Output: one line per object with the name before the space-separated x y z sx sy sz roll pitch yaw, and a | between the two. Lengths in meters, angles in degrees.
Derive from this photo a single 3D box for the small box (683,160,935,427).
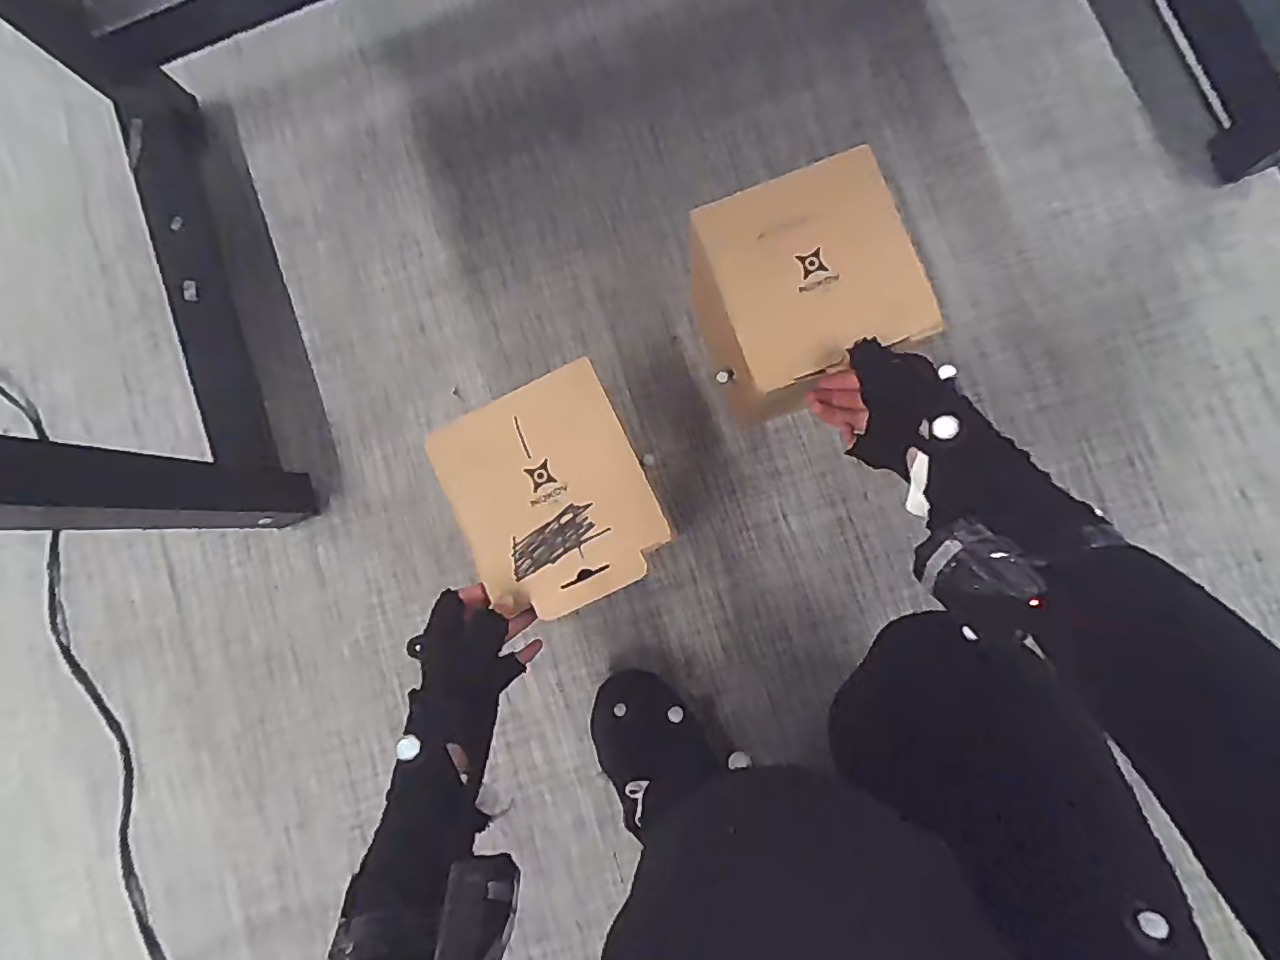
small box | 0.150 -0.164 0.542 0.168 0.176 0.179 -20 82 2
